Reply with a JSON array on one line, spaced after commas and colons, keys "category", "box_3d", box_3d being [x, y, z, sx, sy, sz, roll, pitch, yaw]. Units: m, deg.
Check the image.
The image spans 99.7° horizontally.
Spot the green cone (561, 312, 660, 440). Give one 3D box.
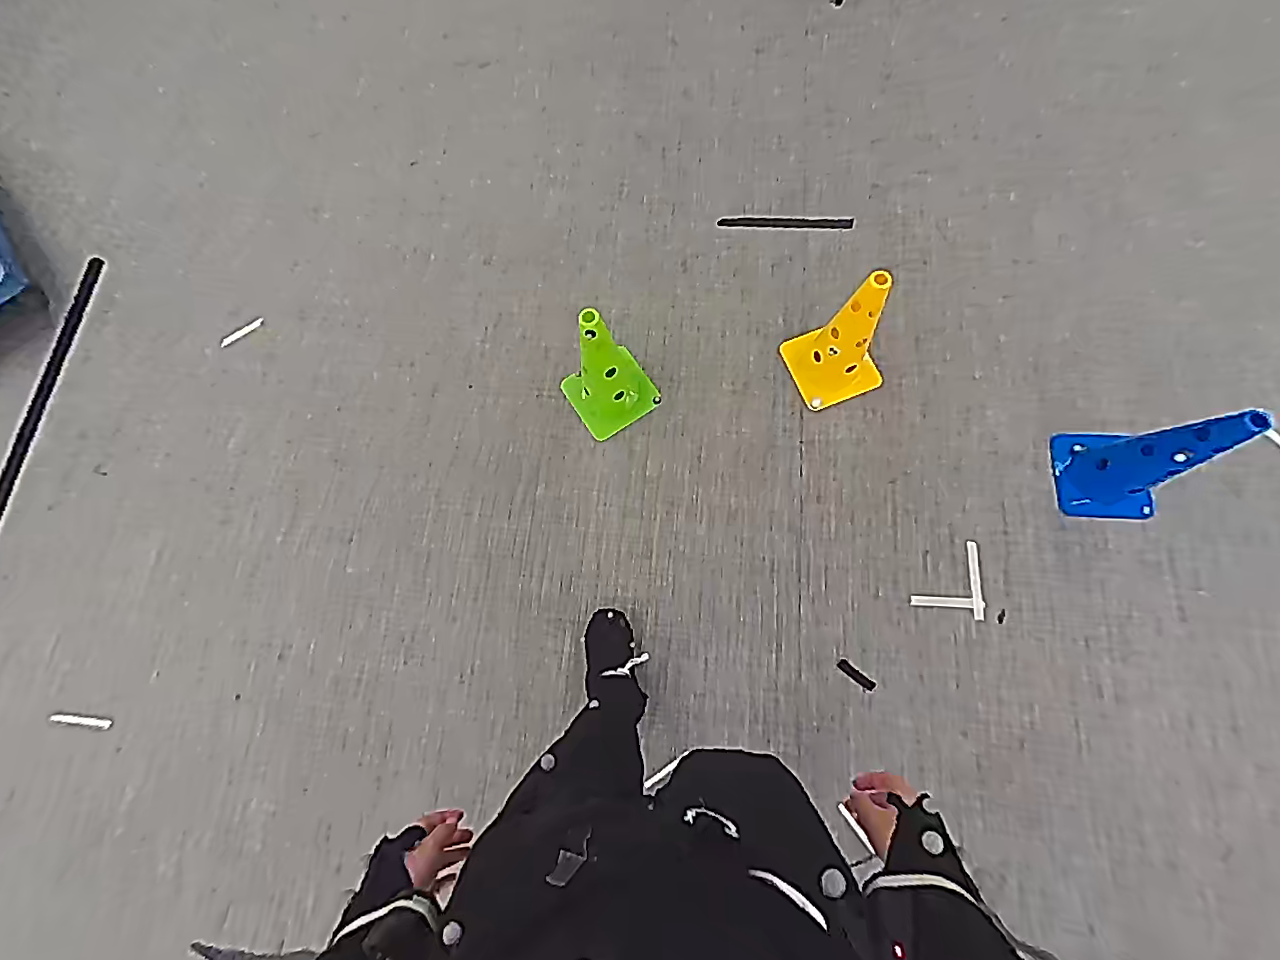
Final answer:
[{"category": "green cone", "box_3d": [-0.089, -0.266, 1.208, 0.202, 0.368, 0.200, -34, 75, -4]}]
